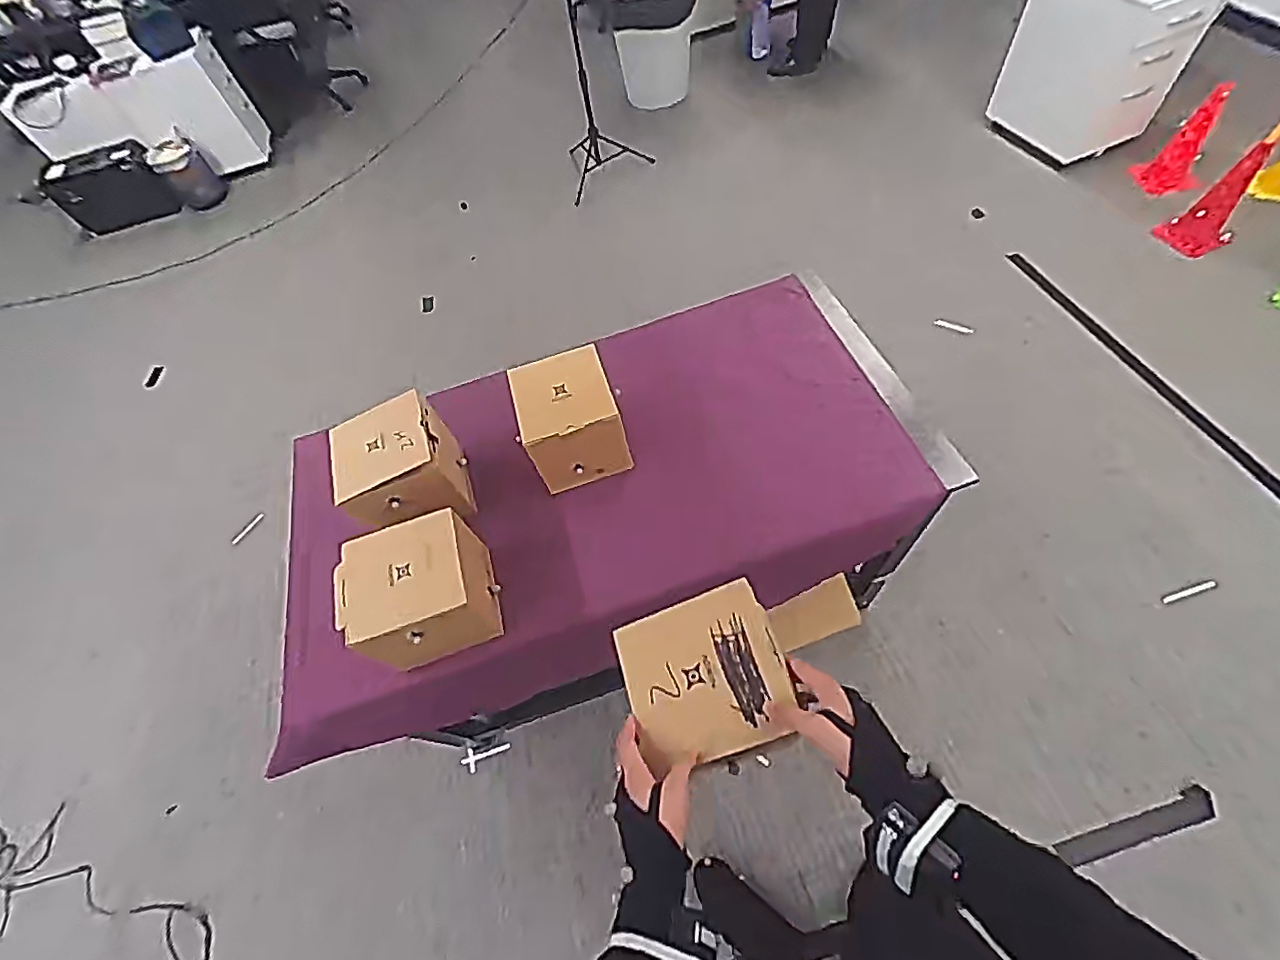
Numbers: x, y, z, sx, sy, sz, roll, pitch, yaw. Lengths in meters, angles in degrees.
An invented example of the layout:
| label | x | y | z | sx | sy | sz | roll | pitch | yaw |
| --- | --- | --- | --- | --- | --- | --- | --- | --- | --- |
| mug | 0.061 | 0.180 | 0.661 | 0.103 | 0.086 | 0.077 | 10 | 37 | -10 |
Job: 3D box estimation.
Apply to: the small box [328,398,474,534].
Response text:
| label | x | y | z | sx | sy | sz | roll | pitch | yaw |
| --- | --- | --- | --- | --- | --- | --- | --- | --- | --- |
| small box | -0.425 | -0.010 | 0.972 | 0.179 | 0.176 | 0.168 | -21 | 60 | -5 |

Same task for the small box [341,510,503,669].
| label | x | y | z | sx | sy | sz | roll | pitch | yaw |
| --- | --- | --- | --- | --- | --- | --- | --- | --- | --- |
| small box | -0.337 | 0.179 | 0.848 | 0.179 | 0.176 | 0.168 | -19 | 59 | -4 |
